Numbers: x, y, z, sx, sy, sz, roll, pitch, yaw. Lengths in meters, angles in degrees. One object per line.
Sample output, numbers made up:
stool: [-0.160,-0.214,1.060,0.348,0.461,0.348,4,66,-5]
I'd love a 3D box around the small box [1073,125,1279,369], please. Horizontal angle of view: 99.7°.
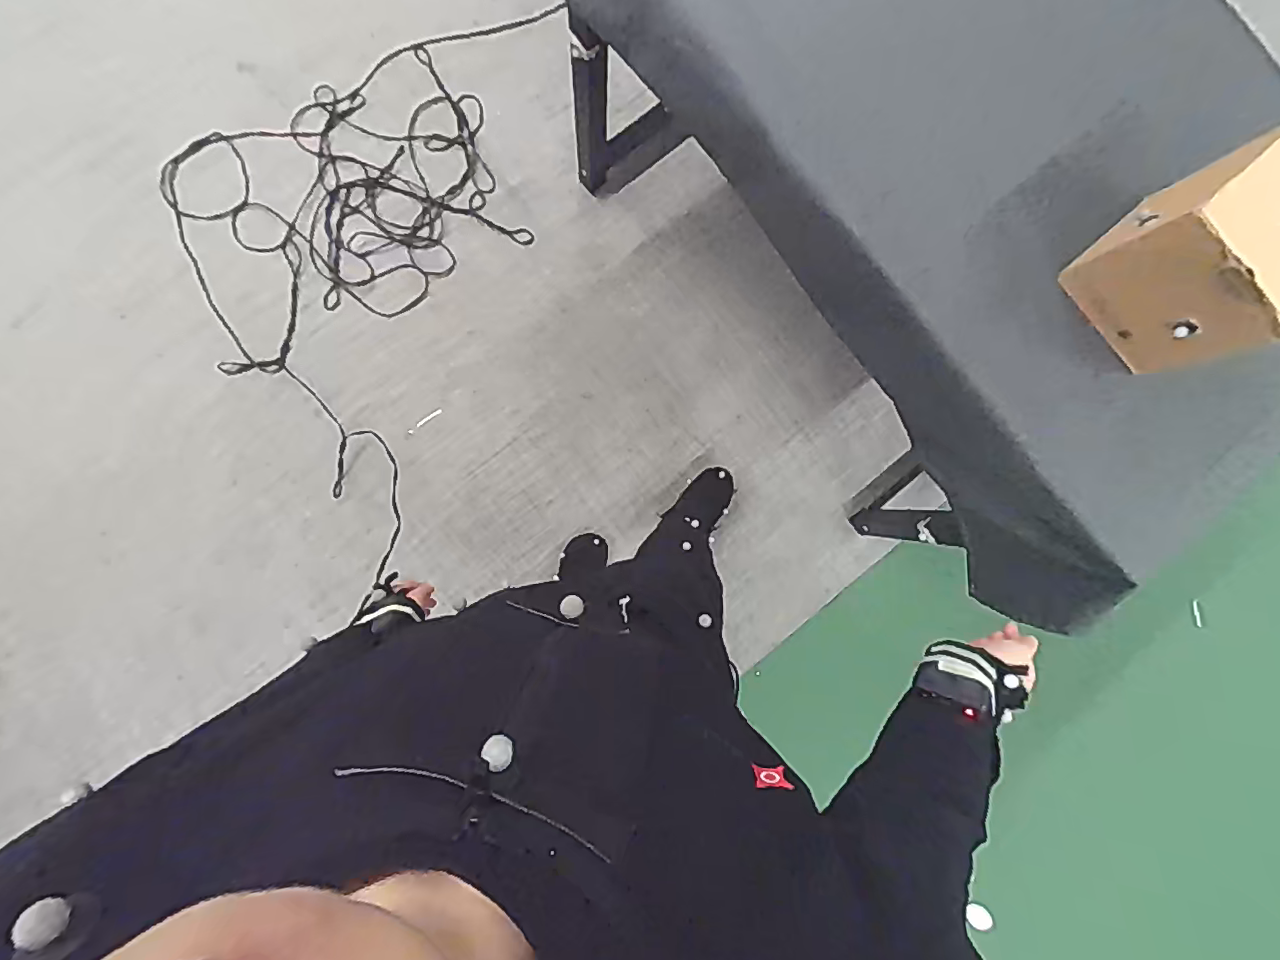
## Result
small box: [0.652,-0.252,0.616,0.179,0.176,0.168,-41,92,-6]
